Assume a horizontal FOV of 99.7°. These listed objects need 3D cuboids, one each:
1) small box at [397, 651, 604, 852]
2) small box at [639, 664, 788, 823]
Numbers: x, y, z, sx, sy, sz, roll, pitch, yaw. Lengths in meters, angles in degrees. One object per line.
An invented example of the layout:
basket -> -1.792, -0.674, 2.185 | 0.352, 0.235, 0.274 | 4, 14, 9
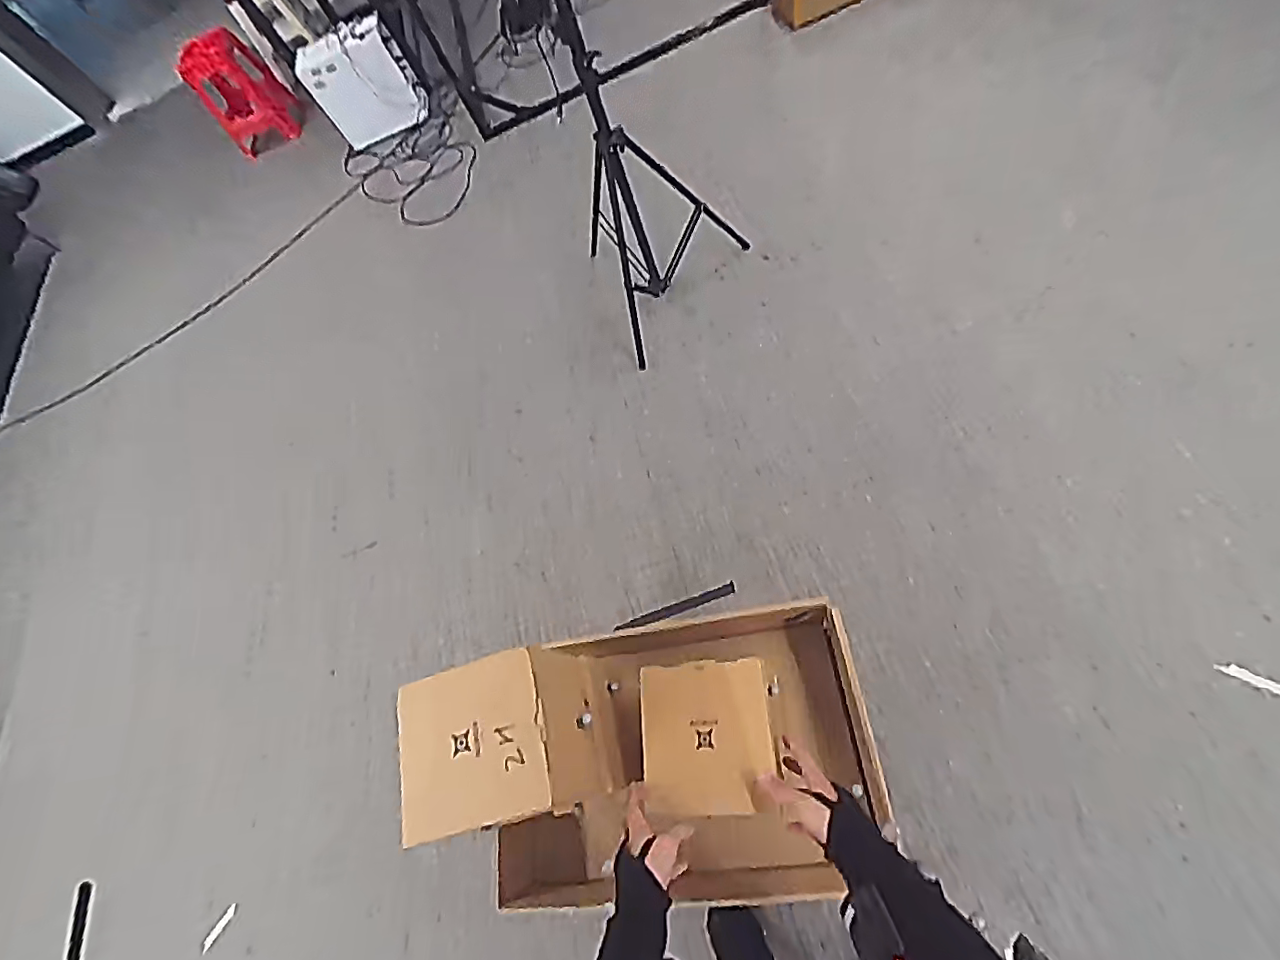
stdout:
small box -> -0.164, 0.322, 0.654 | 0.179, 0.176, 0.168 | -20, 62, 7
small box -> 0.104, 0.356, 0.743 | 0.168, 0.176, 0.179 | -10, 63, 15
